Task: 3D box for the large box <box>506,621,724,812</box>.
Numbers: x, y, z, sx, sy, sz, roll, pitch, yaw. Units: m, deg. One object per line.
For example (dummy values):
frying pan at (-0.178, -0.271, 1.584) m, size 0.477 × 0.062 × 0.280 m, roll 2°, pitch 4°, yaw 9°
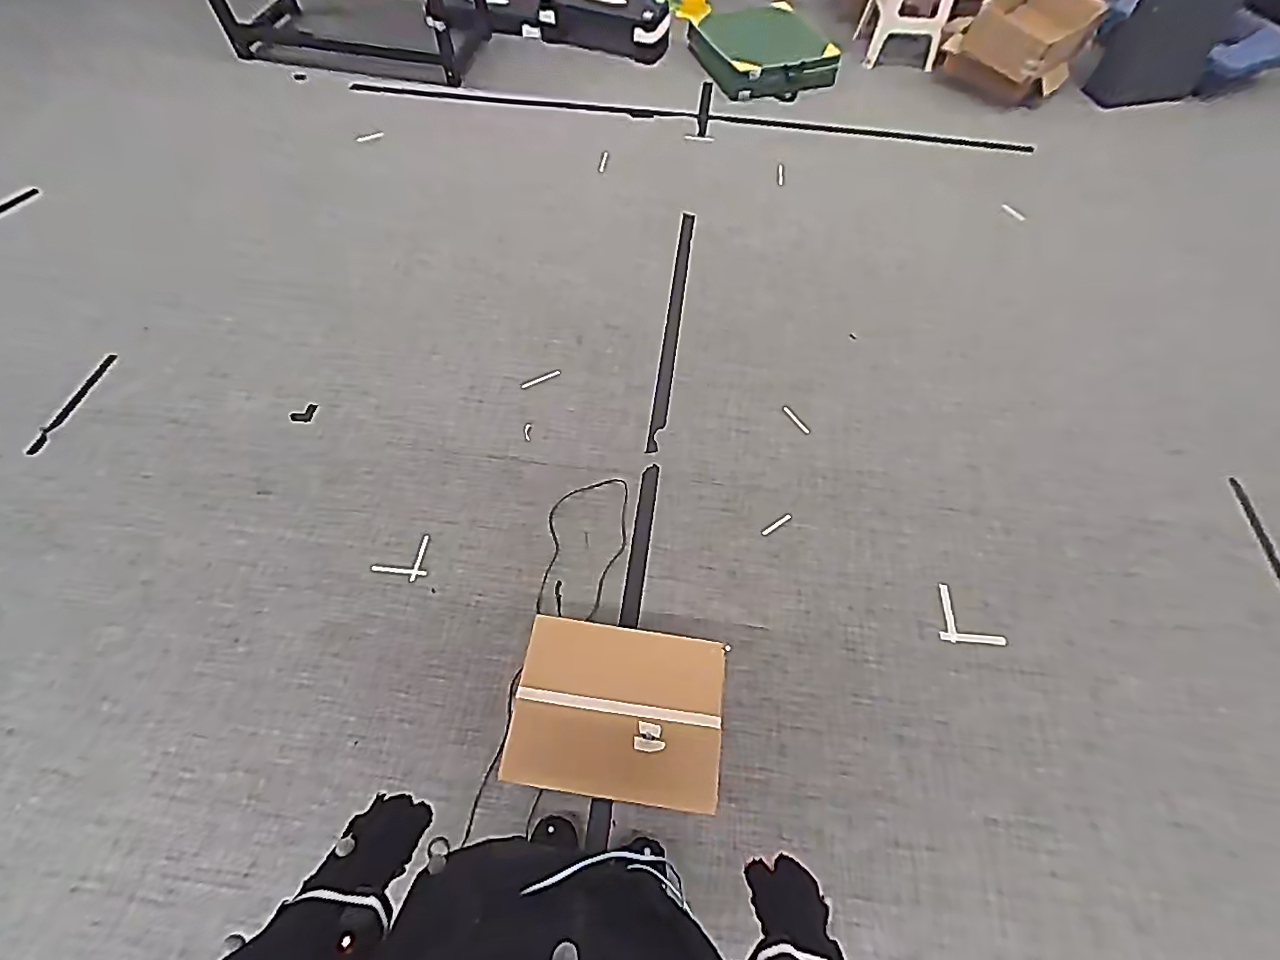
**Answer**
large box at (-0.046, 0.529, 1.194) m, size 0.408 × 0.320 × 0.320 m, roll 8°, pitch 60°, yaw 1°
